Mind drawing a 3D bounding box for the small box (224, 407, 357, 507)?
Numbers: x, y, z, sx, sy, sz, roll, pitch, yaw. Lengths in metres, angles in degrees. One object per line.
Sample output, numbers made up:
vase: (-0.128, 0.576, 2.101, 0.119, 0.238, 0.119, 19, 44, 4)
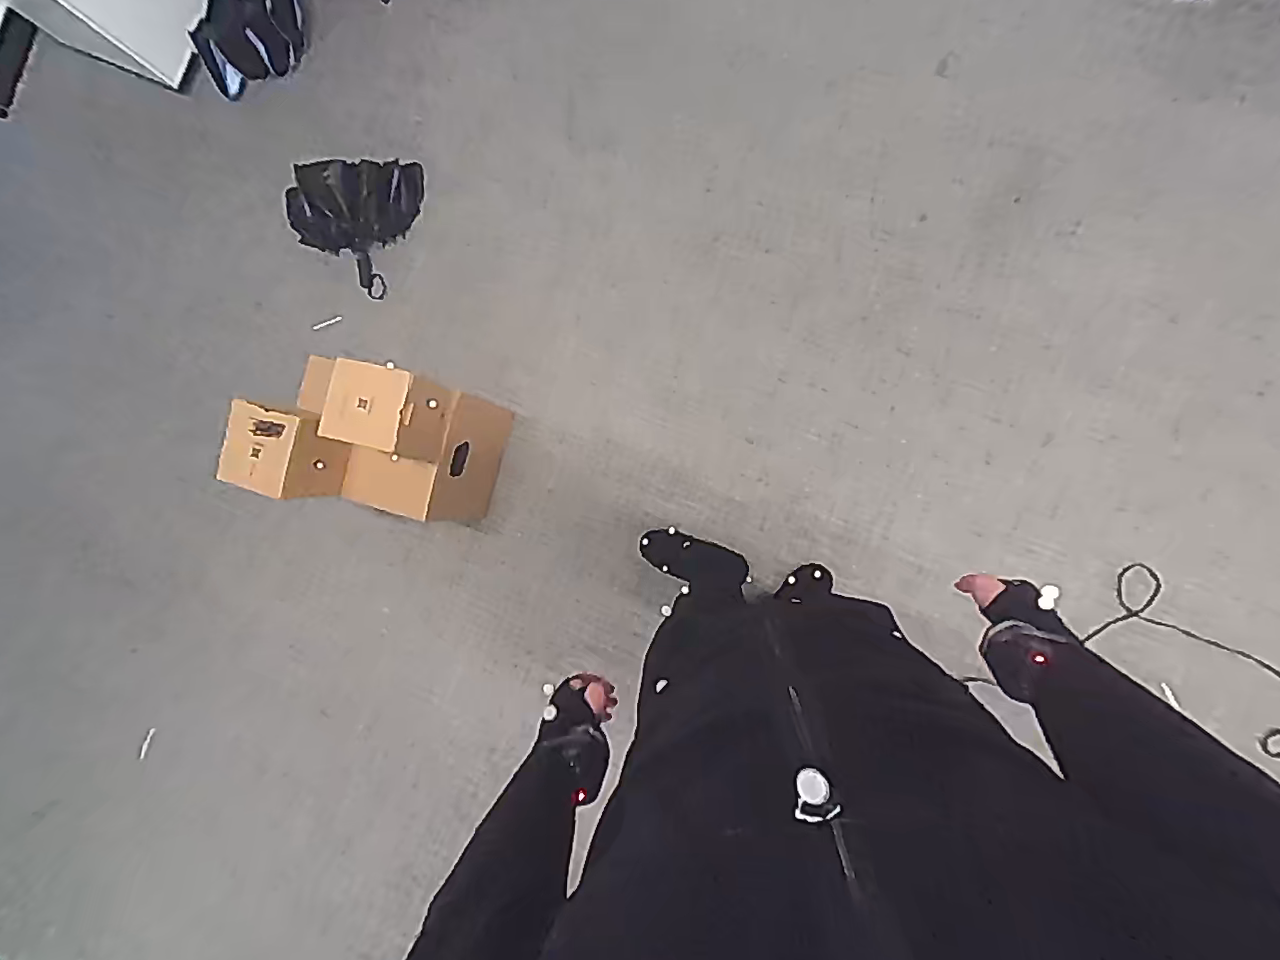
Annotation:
small box: (-0.759, -0.048, 1.195, 0.168, 0.176, 0.179, 16, 93, 11)

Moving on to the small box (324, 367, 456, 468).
small box: (-0.523, -0.126, 1.158, 0.179, 0.176, 0.168, 12, 86, 12)
